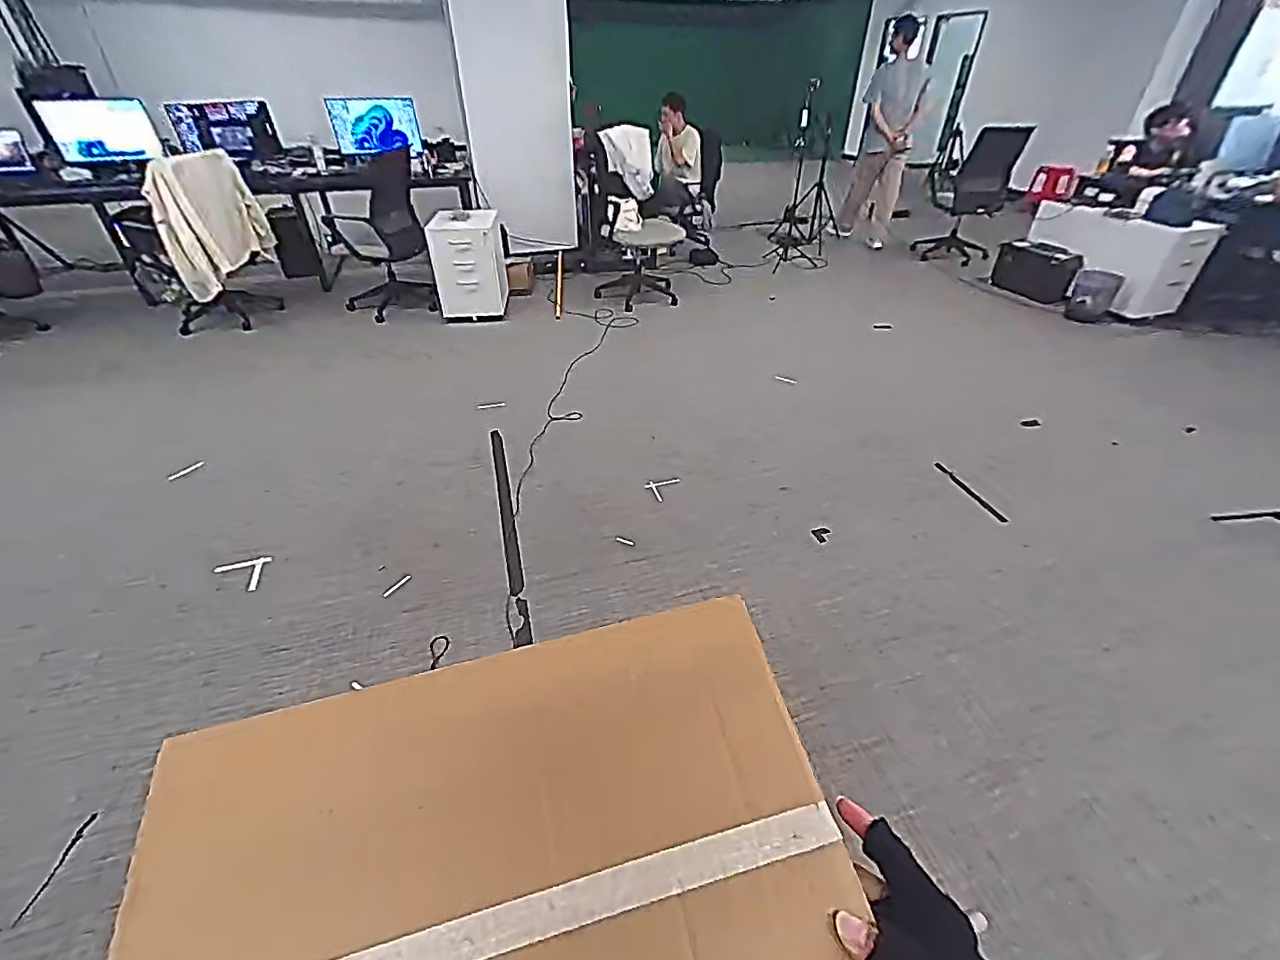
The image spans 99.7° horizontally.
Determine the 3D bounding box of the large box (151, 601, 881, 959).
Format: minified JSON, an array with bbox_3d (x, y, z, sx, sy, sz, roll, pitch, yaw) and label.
[{"bbox_3d":[-0.074,0.346,0.429,0.408,0.320,0.320,-12,54,-8],"label":"large box"}]
